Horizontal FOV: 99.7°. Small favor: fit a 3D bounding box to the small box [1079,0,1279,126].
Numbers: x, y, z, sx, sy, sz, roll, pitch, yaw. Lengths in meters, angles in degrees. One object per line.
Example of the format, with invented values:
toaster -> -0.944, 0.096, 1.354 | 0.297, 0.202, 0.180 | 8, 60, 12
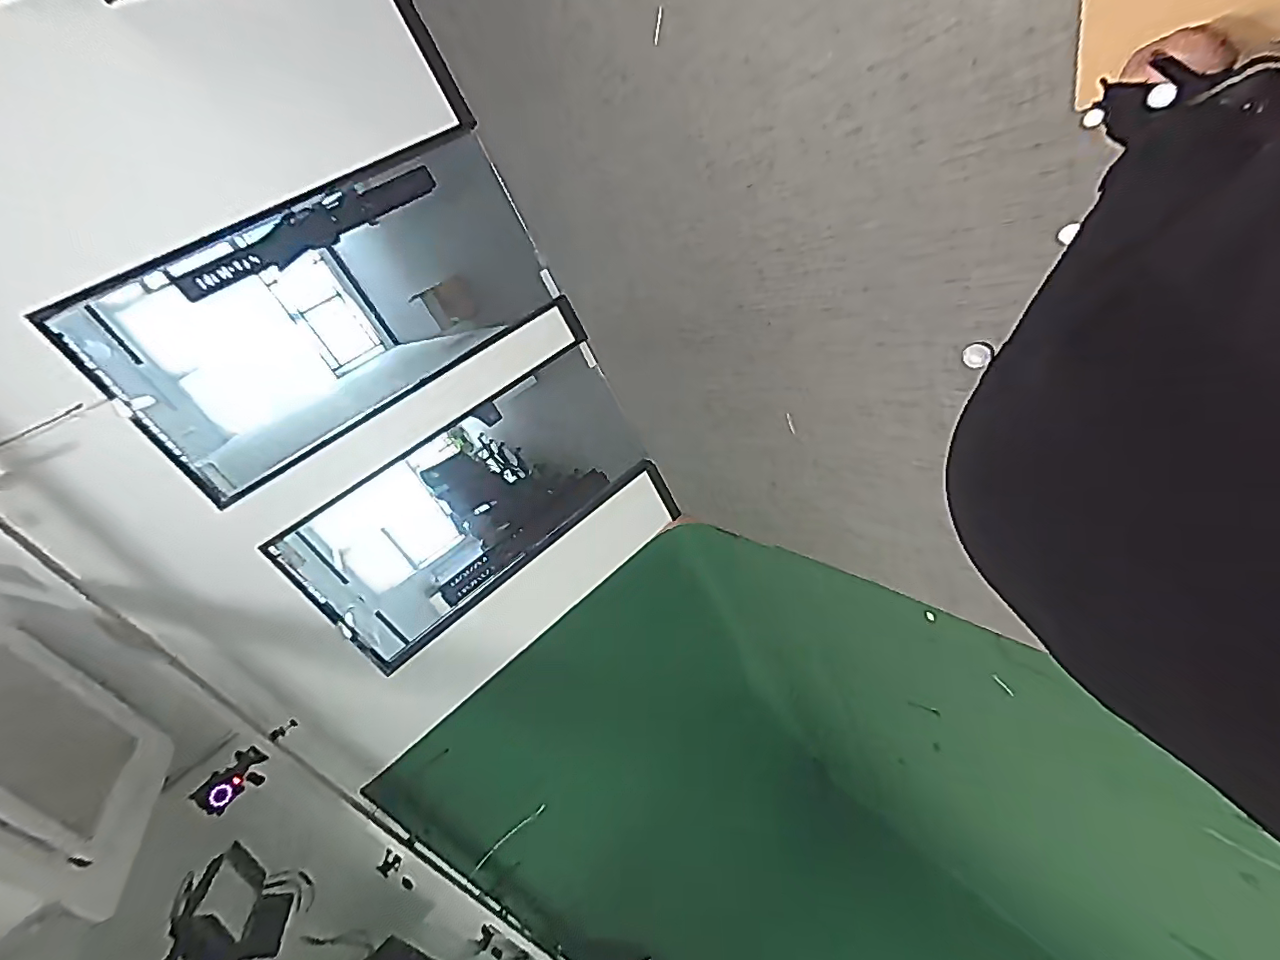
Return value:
small box -> 0.532, -0.450, 0.486 | 0.168, 0.179, 0.176 | 17, 121, 57
